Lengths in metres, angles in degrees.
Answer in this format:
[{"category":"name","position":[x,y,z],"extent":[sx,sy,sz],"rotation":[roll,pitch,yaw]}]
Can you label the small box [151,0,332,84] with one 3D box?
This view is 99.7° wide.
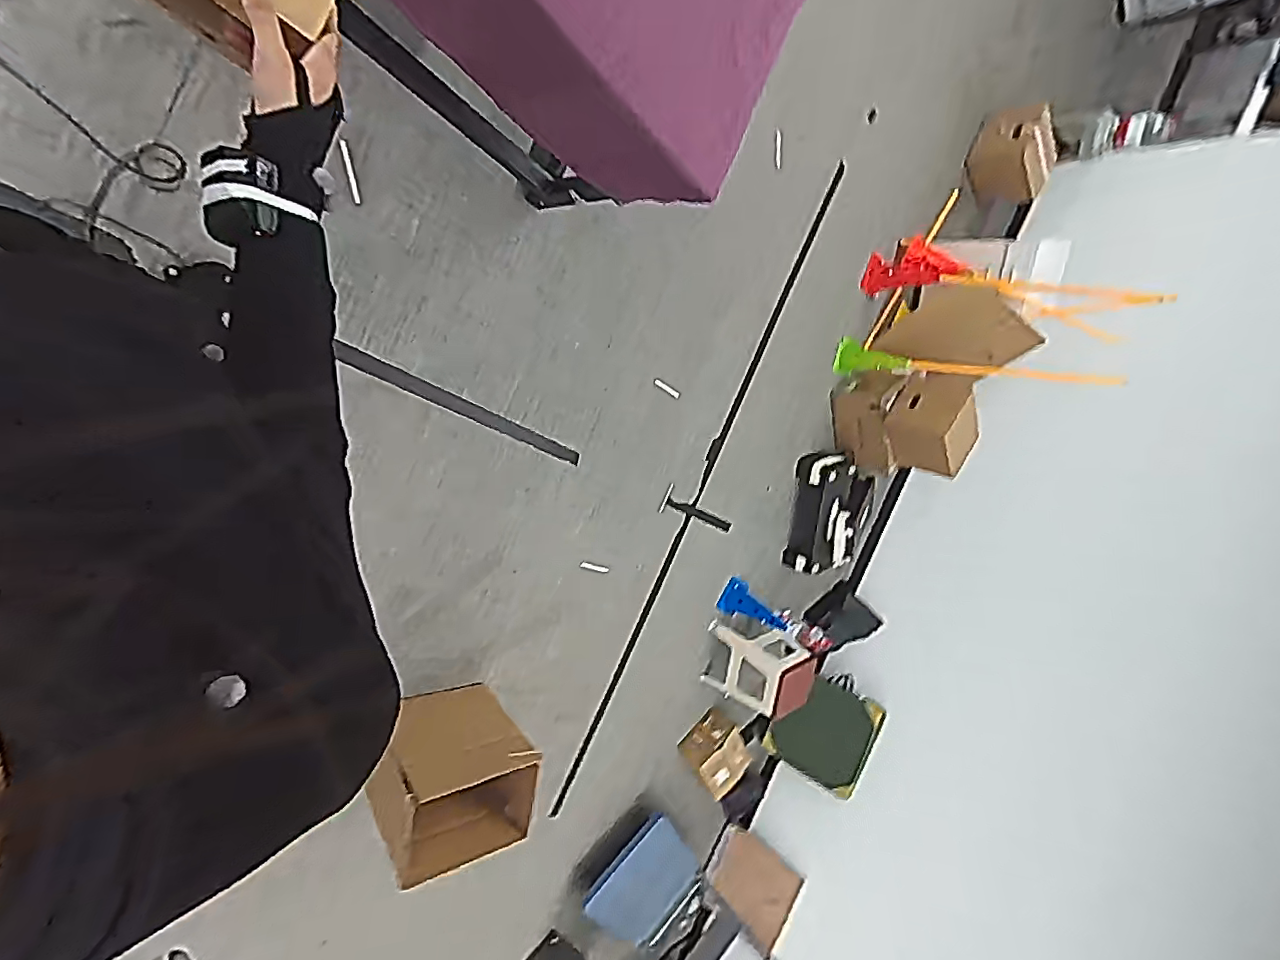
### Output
[{"category":"small box","position":[-0.352,-0.486,0.457],"extent":[0.168,0.176,0.179],"rotation":[24,88,-47]}]
